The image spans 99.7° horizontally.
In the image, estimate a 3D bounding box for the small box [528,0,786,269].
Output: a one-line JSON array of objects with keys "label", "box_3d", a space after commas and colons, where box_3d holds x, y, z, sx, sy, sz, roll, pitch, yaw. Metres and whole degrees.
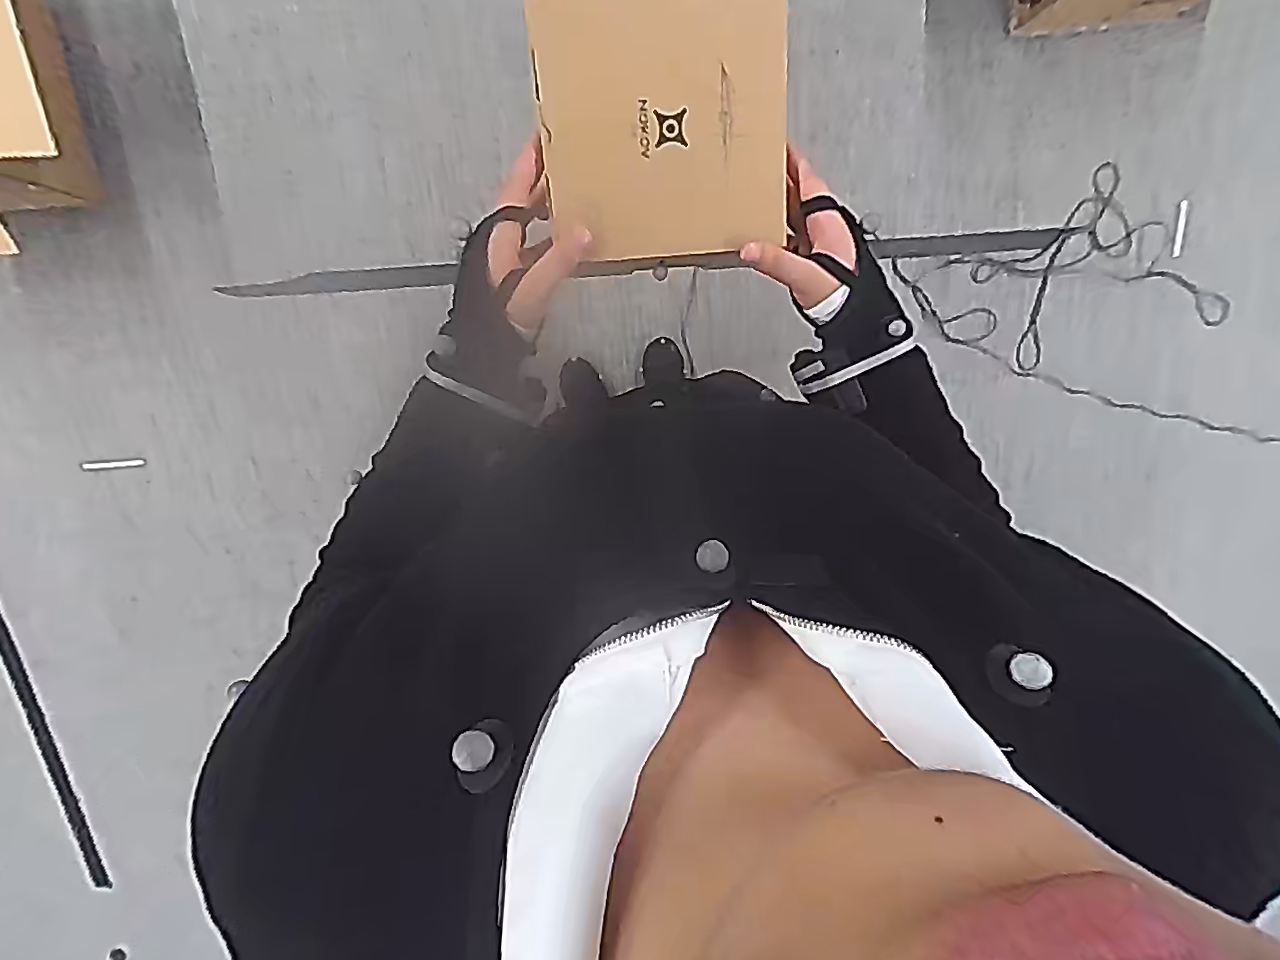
[{"label": "small box", "box_3d": [0.011, -0.277, 0.459, 0.179, 0.176, 0.168, -7, 109, -4]}]
